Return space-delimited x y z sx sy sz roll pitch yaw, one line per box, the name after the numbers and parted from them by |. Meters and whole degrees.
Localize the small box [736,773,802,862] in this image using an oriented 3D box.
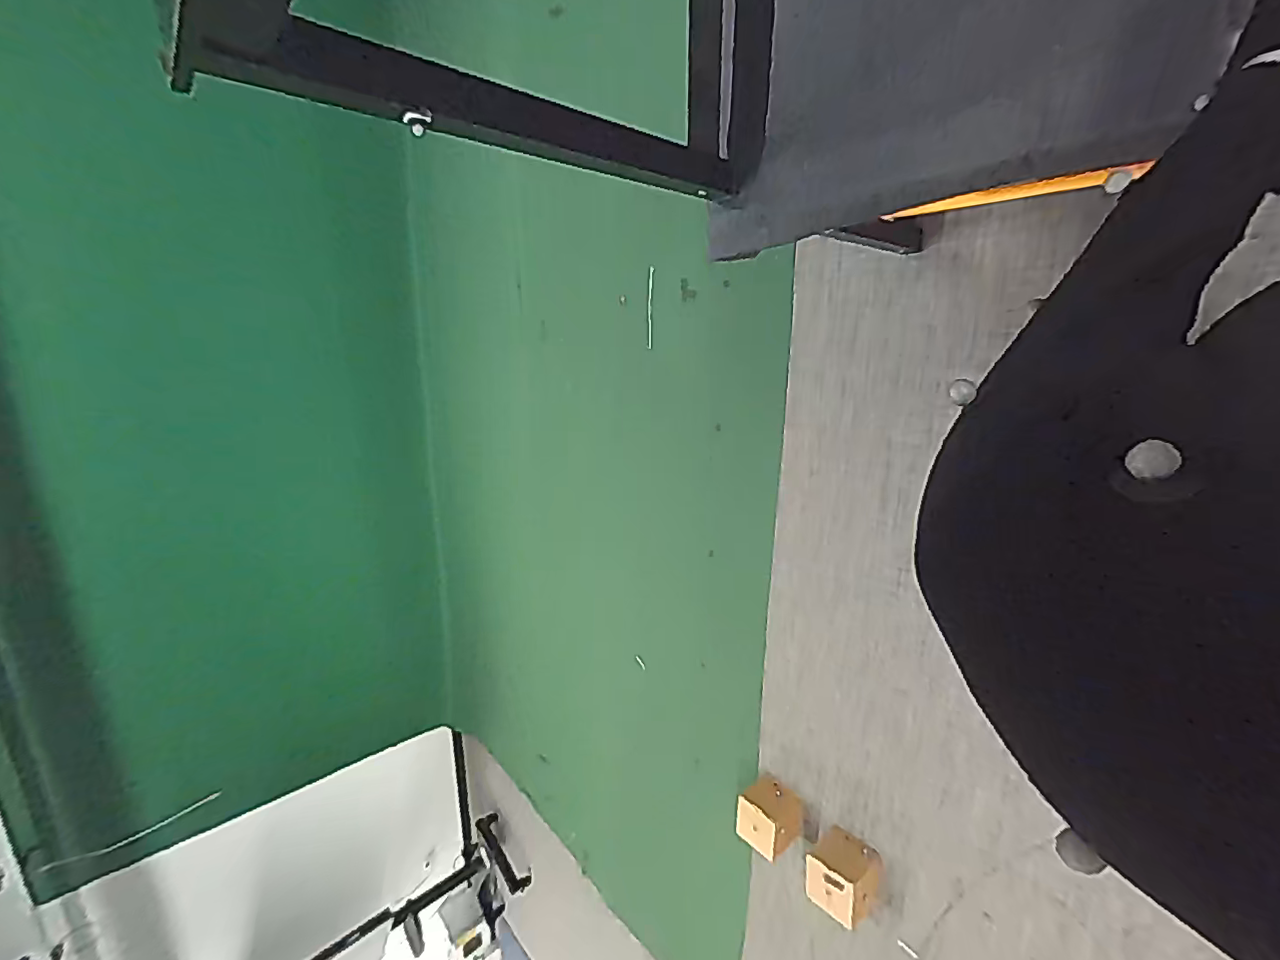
0.473 1.228 1.979 0.168 0.176 0.179 16 110 46 | small box

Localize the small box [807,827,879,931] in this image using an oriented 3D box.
0.665 1.291 1.766 0.168 0.176 0.179 11 108 48 | small box
